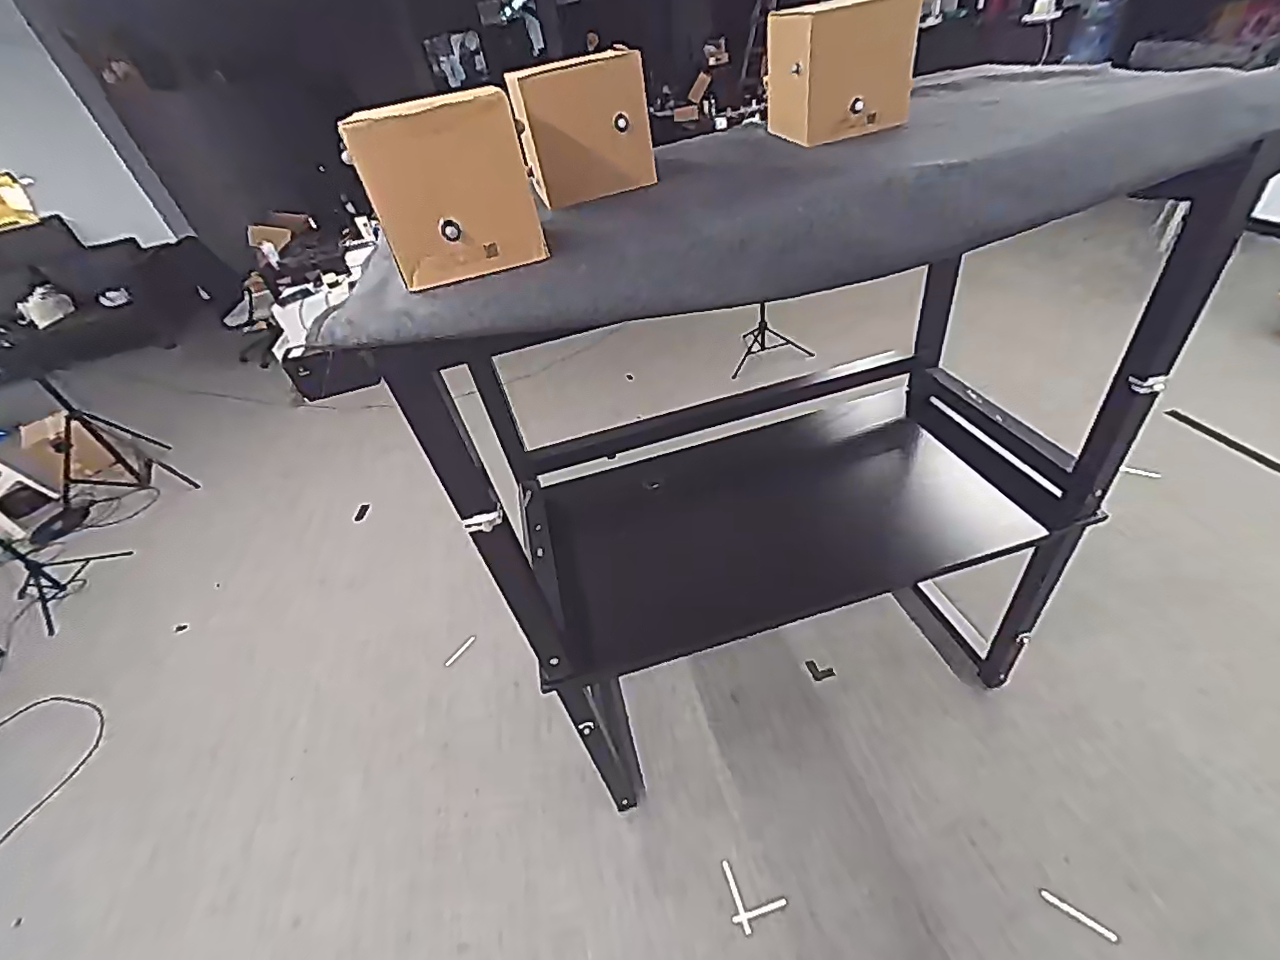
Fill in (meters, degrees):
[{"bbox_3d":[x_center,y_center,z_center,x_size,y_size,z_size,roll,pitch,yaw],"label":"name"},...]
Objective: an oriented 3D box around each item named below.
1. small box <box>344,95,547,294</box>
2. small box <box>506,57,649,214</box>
[{"bbox_3d":[-0.219,-0.341,0.643,0.168,0.176,0.179,-17,40,-7],"label":"small box"},{"bbox_3d":[-0.092,-0.533,0.836,0.179,0.176,0.168,-17,40,-8],"label":"small box"}]
